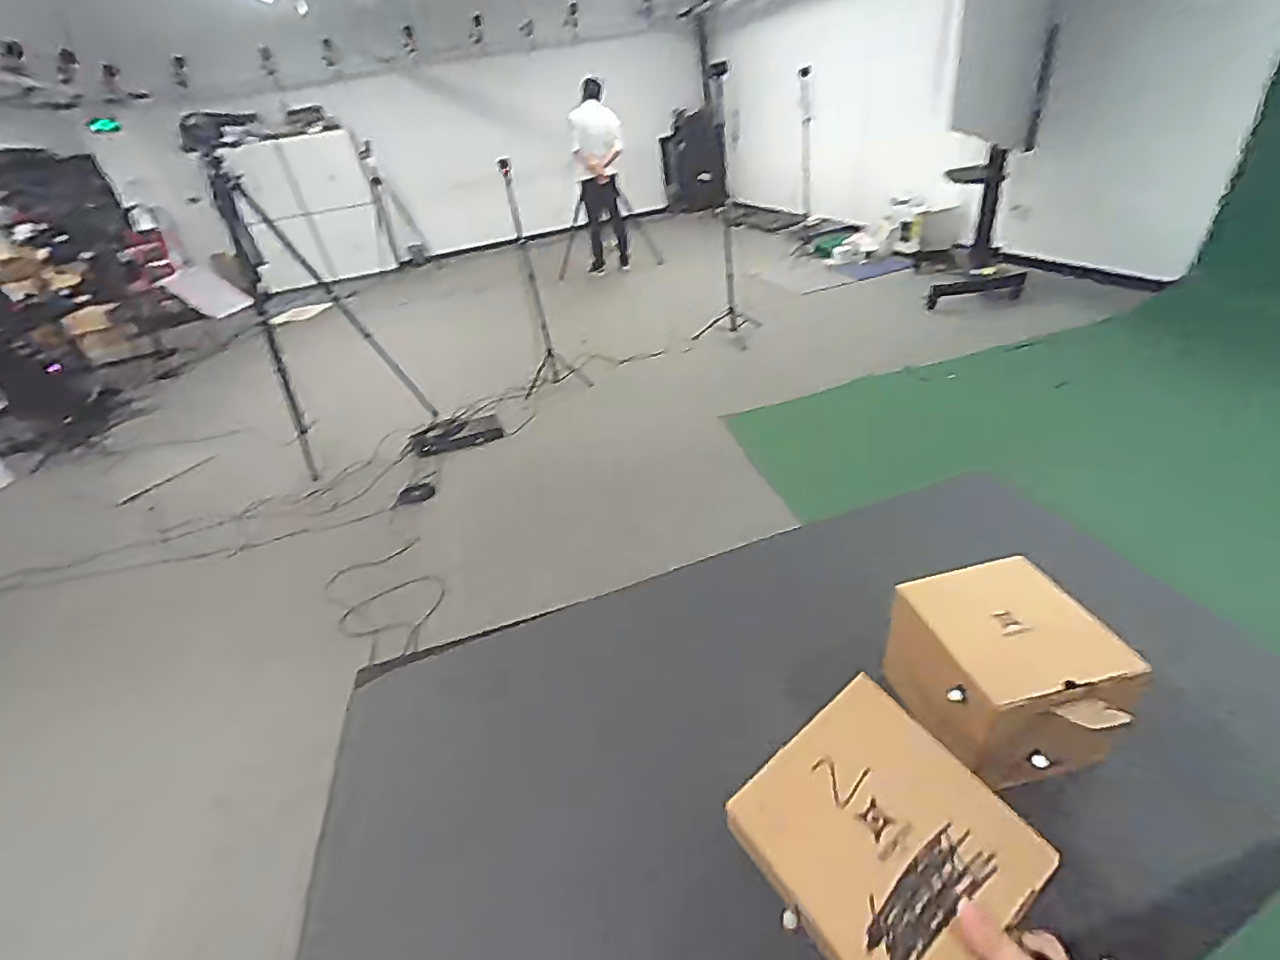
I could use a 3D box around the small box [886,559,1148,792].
[{"bbox_3d":[0.415,0.224,0.637,0.168,0.176,0.179,-12,33,-4],"label":"small box"}]
